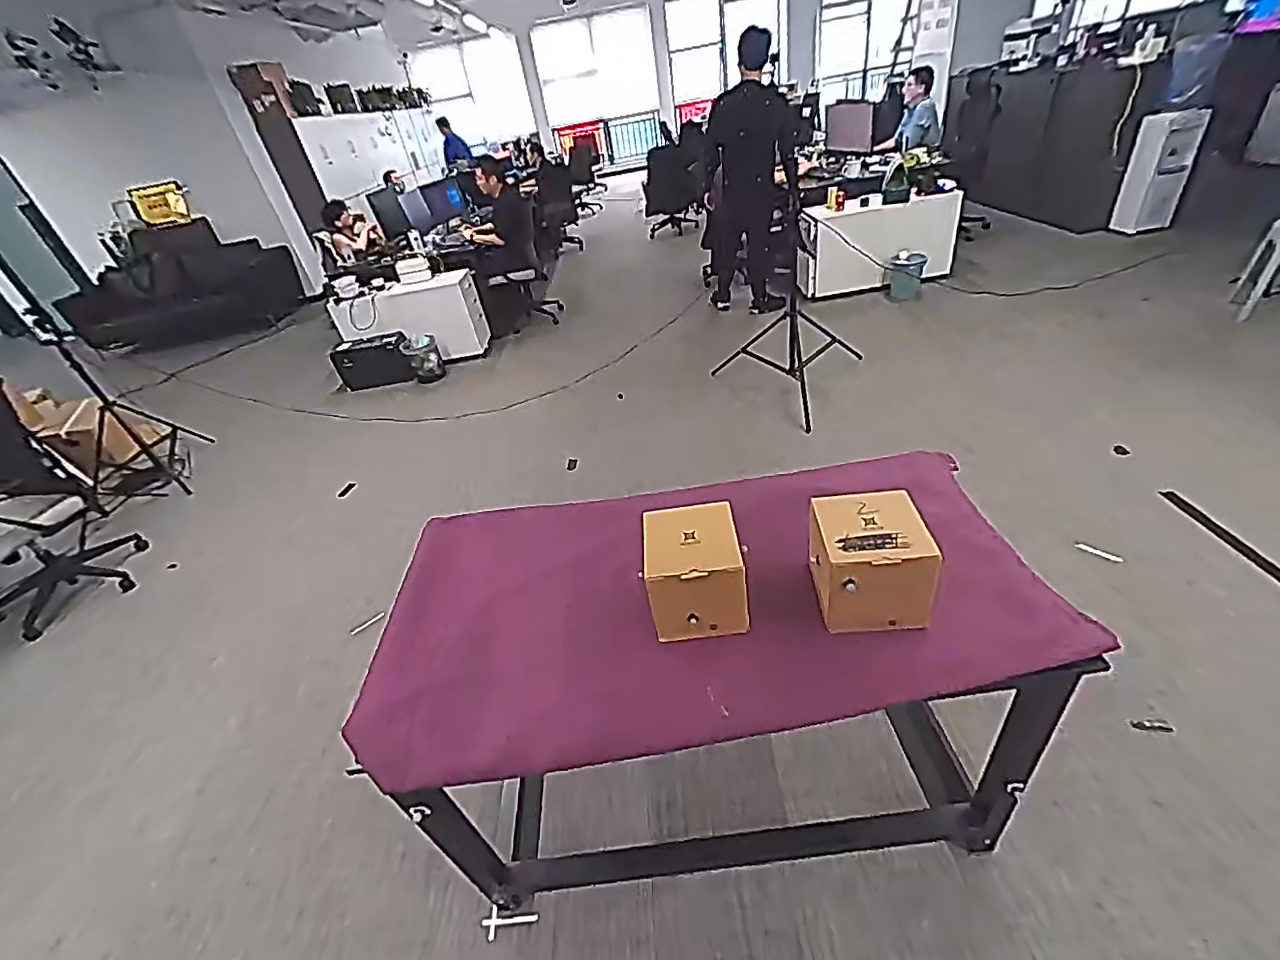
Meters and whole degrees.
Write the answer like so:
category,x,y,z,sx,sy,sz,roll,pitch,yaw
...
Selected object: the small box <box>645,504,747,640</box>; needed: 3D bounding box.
category,x,y,z,sx,sy,sz,roll,pitch,yaw
small box,0.101,0.169,0.998,0.168,0.176,0.179,-8,36,5
